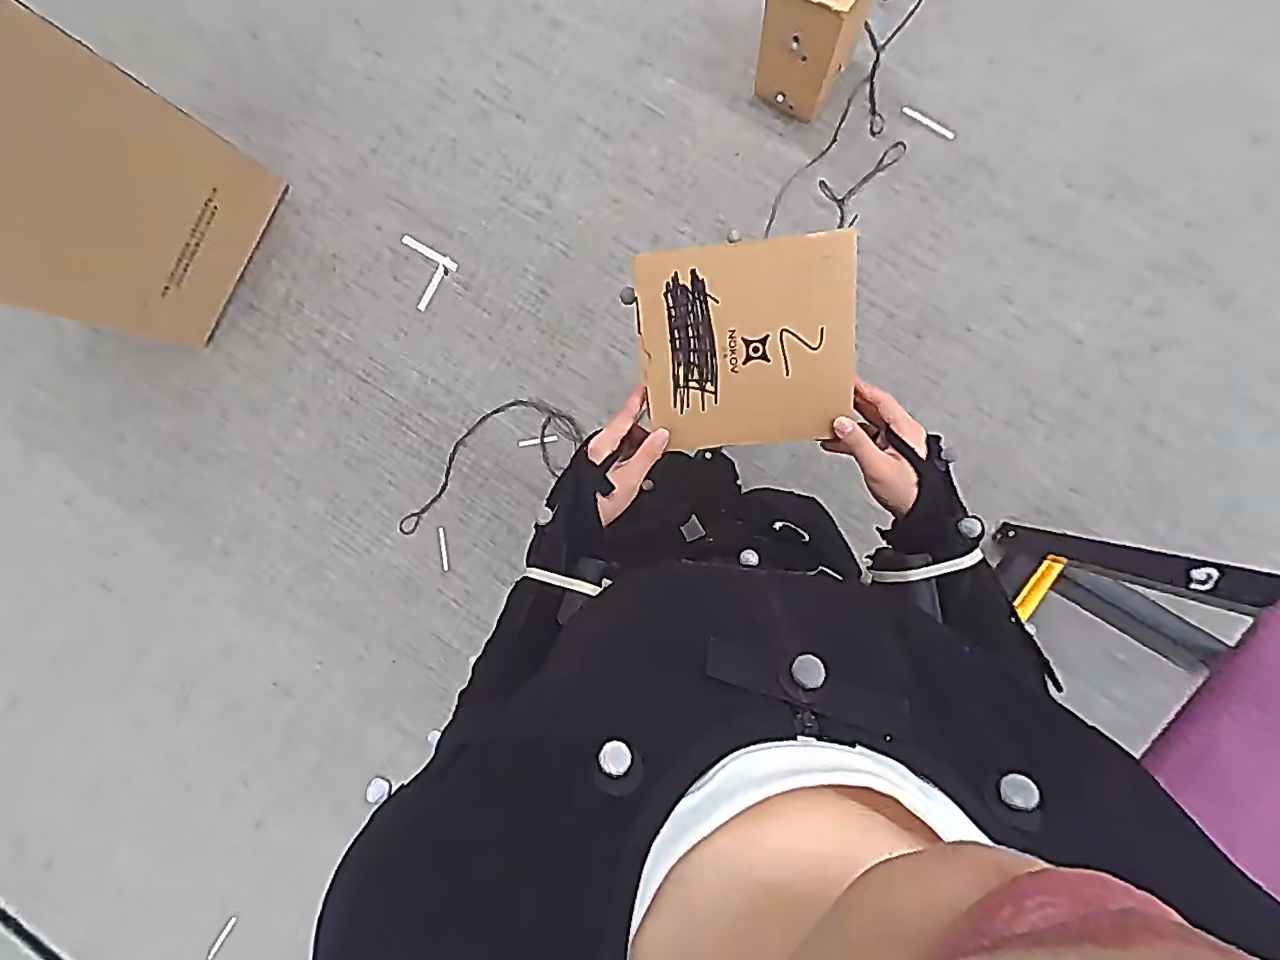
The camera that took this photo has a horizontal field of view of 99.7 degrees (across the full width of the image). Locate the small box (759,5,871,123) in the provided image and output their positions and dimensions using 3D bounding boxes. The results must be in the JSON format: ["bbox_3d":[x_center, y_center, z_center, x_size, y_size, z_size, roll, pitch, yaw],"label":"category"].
[{"bbox_3d":[0.384,-0.973,1.229,0.168,0.176,0.179,33,96,5],"label":"small box"}]

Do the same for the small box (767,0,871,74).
[{"bbox_3d":[0.365,-0.967,1.065,0.168,0.176,0.179,31,96,6],"label":"small box"}]
